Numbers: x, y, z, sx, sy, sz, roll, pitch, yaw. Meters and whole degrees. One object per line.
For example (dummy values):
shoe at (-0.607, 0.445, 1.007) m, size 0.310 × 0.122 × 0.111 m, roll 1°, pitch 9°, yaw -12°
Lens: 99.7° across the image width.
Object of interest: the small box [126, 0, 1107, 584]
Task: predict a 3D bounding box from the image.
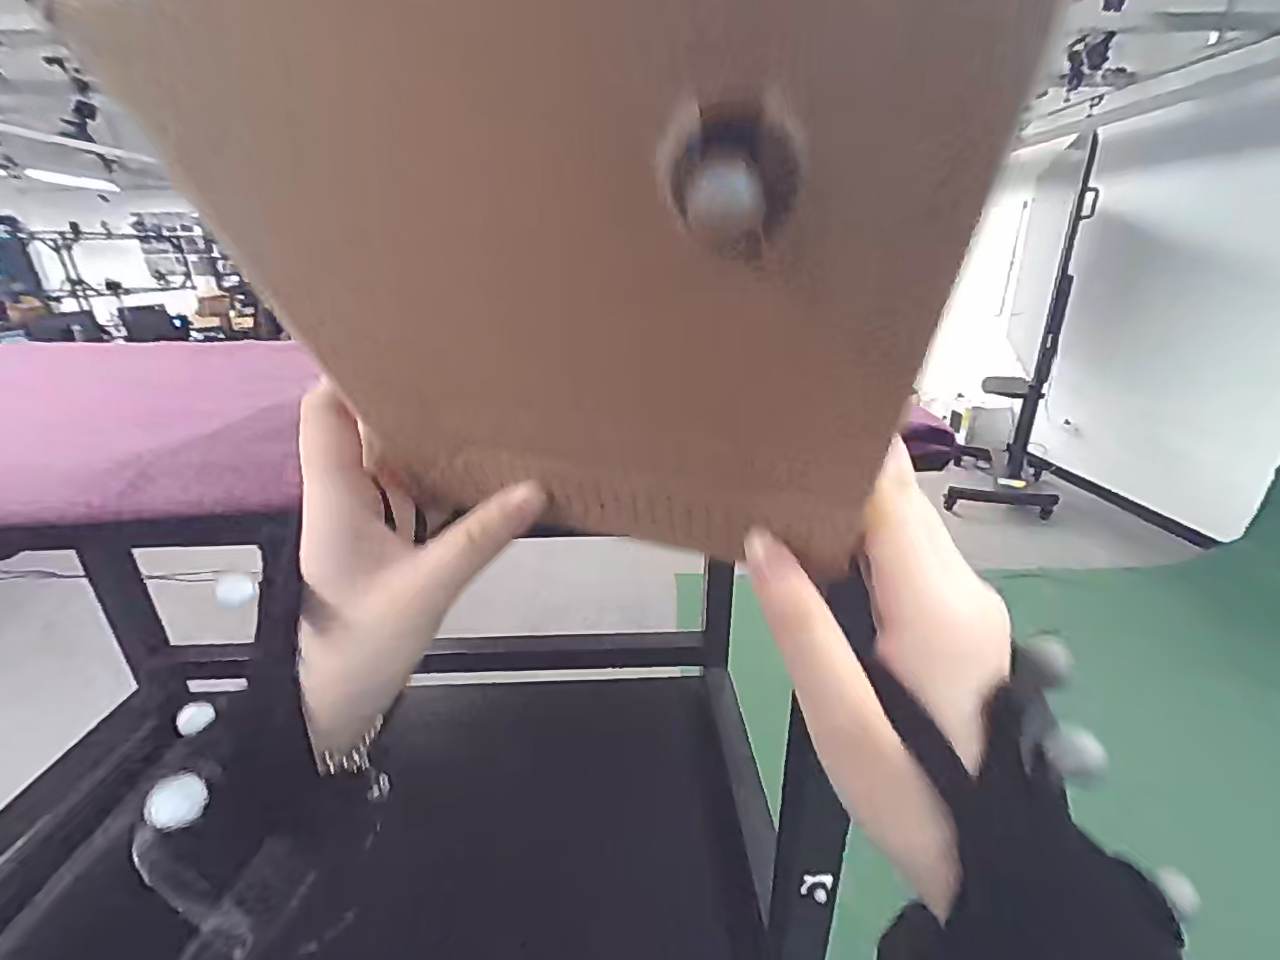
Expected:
small box at (0.007, -0.081, 0.195) m, size 0.179 × 0.176 × 0.168 m, roll 11°, pitch 56°, yaw 14°
